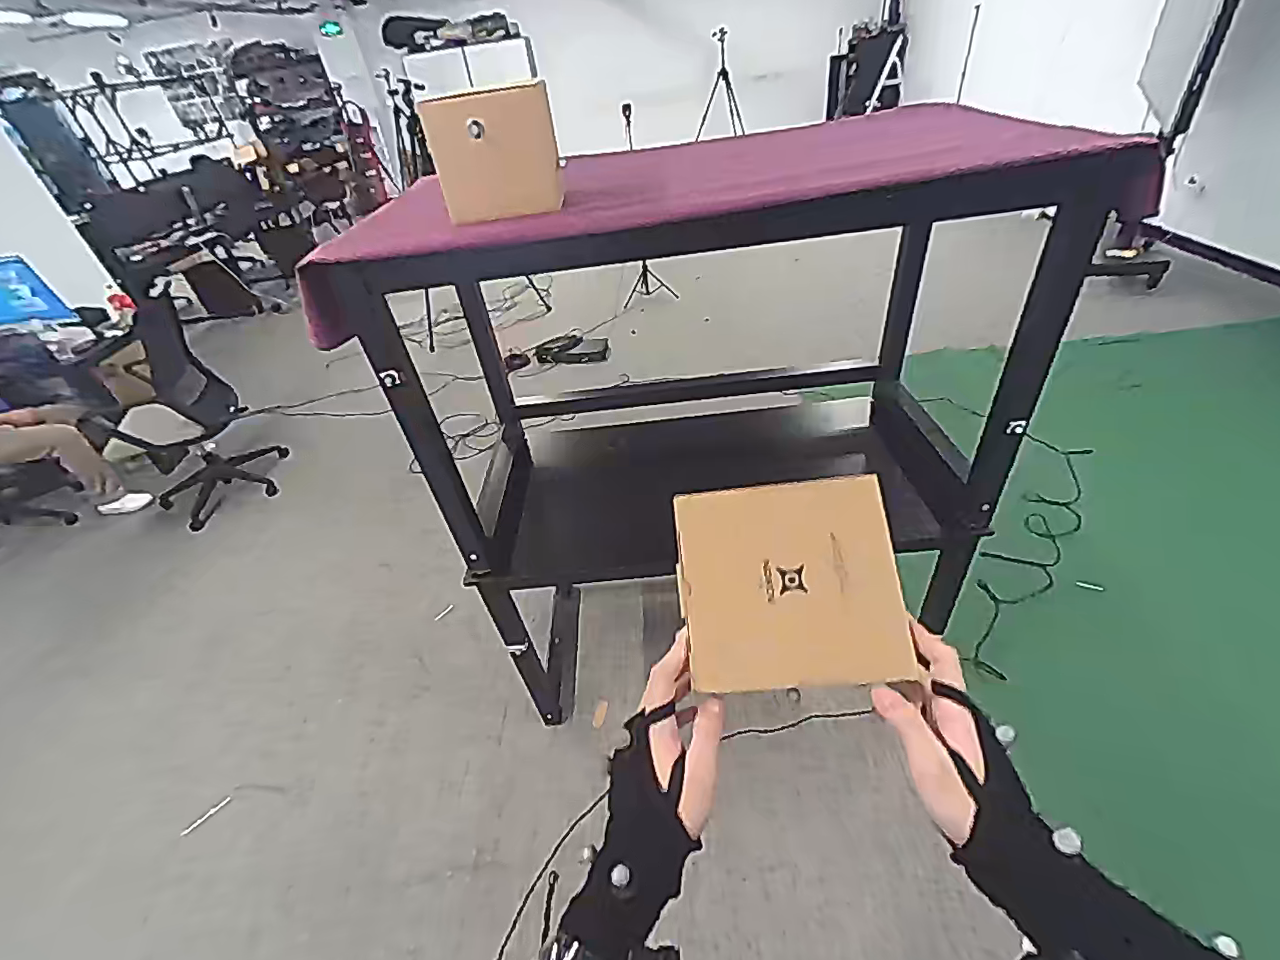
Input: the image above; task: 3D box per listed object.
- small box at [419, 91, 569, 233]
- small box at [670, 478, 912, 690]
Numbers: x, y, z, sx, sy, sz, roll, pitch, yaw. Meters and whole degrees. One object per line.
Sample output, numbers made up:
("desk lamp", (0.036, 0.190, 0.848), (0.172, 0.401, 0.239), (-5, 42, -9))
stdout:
("small box", (-0.224, -0.515, 0.880), (0.179, 0.176, 0.168), (-7, 39, 2))
("small box", (0.130, 0.107, 0.519), (0.179, 0.176, 0.168), (-7, 73, 7))
